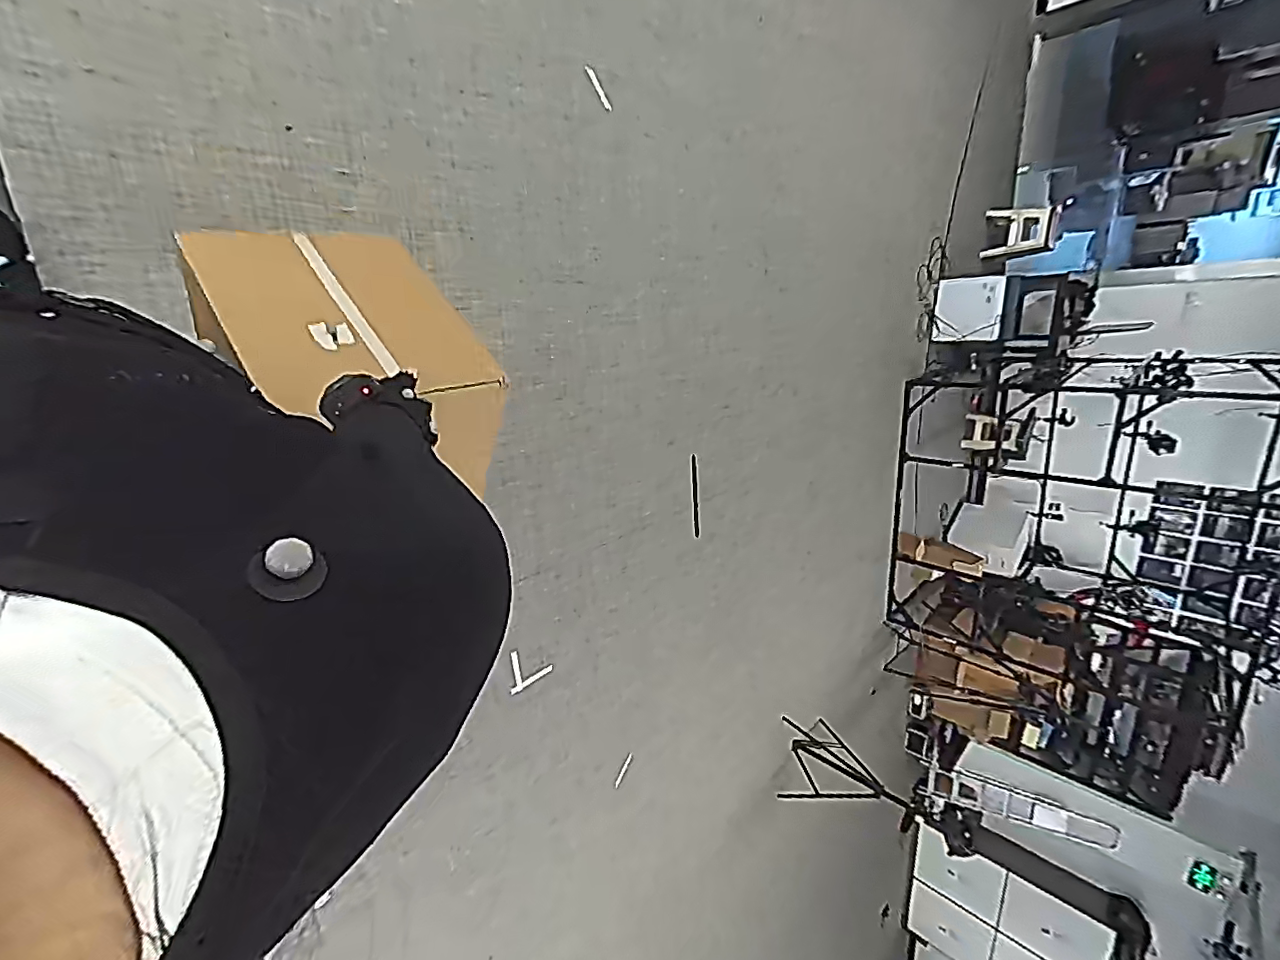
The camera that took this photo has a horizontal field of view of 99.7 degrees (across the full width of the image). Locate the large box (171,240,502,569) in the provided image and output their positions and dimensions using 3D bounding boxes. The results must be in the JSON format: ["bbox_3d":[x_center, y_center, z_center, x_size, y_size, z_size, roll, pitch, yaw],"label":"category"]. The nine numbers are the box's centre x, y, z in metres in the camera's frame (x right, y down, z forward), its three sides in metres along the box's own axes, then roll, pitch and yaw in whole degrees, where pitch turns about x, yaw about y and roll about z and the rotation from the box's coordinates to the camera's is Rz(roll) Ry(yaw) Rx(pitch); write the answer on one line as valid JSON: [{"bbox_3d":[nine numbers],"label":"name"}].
[{"bbox_3d":[-0.487,-0.136,0.882,0.320,0.408,0.320,-20,151,-40],"label":"large box"}]
